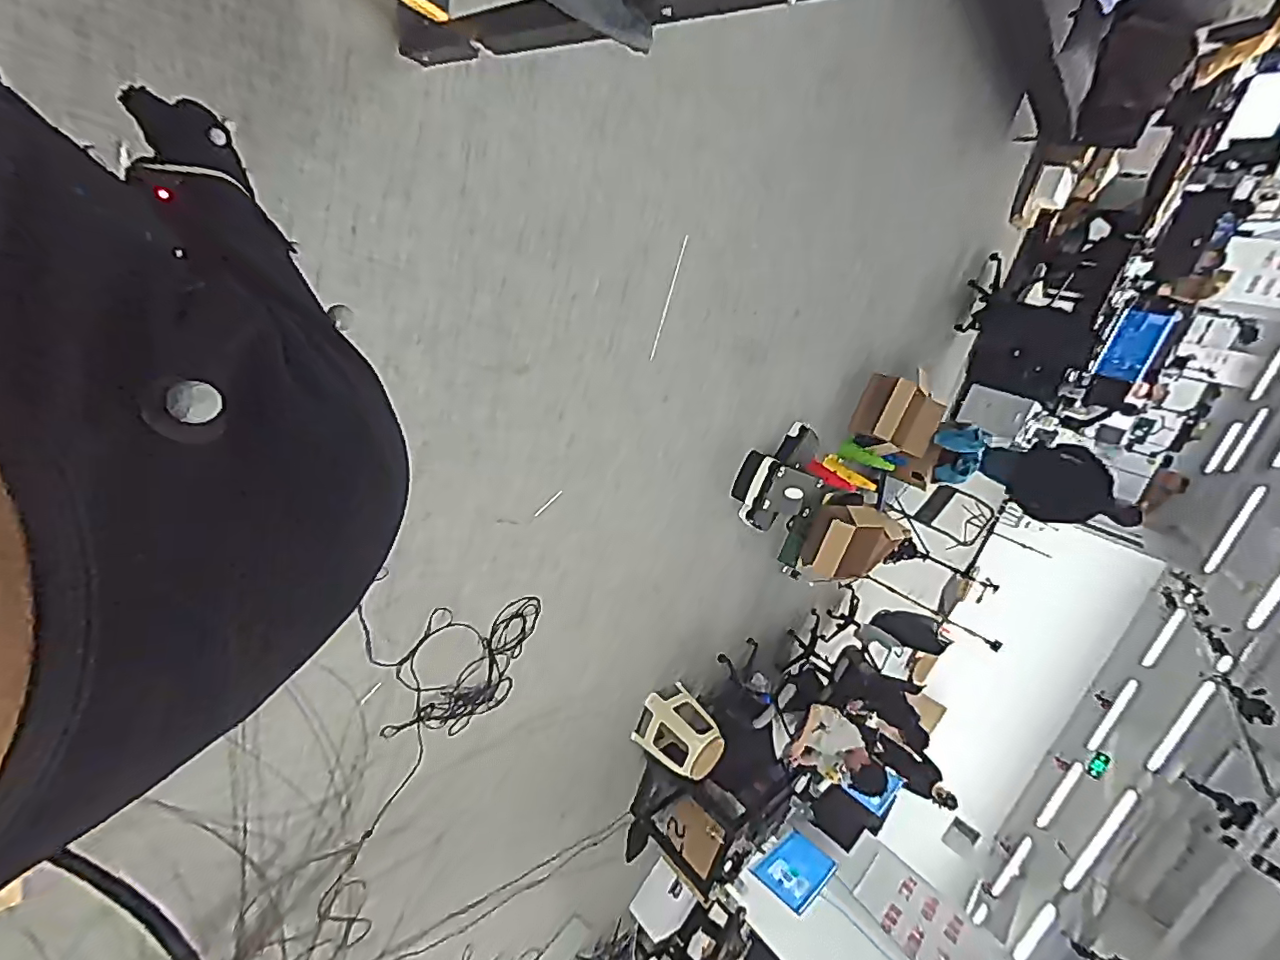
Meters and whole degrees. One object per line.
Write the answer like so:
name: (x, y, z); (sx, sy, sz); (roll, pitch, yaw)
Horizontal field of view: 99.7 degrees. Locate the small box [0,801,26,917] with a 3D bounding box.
small box: (-1.478, 0.859, 1.187); (0.168, 0.176, 0.179); (-5, 115, -49)
